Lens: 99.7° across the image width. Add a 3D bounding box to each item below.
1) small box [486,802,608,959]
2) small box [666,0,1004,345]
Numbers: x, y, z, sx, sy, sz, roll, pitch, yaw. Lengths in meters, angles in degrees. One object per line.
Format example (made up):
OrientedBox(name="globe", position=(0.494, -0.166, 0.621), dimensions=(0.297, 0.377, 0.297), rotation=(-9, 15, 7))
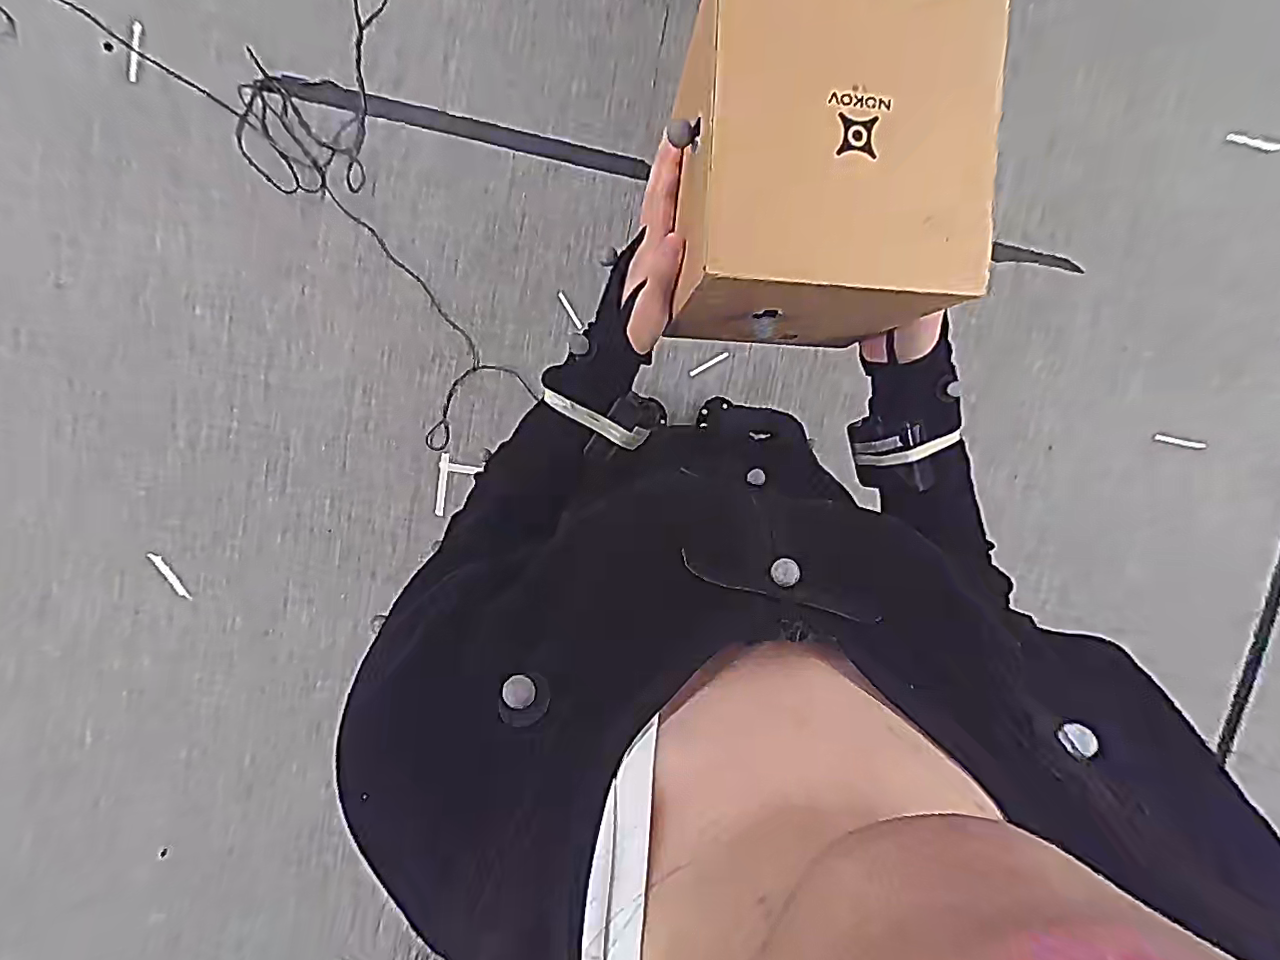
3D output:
OrientedBox(name="small box", position=(-0.139, 0.643, 0.854), dimensions=(0.168, 0.176, 0.179), rotation=(3, 96, -1))
OrientedBox(name="small box", position=(0.113, -0.199, 0.381), dimensions=(0.168, 0.176, 0.179), rotation=(2, 92, -6))
